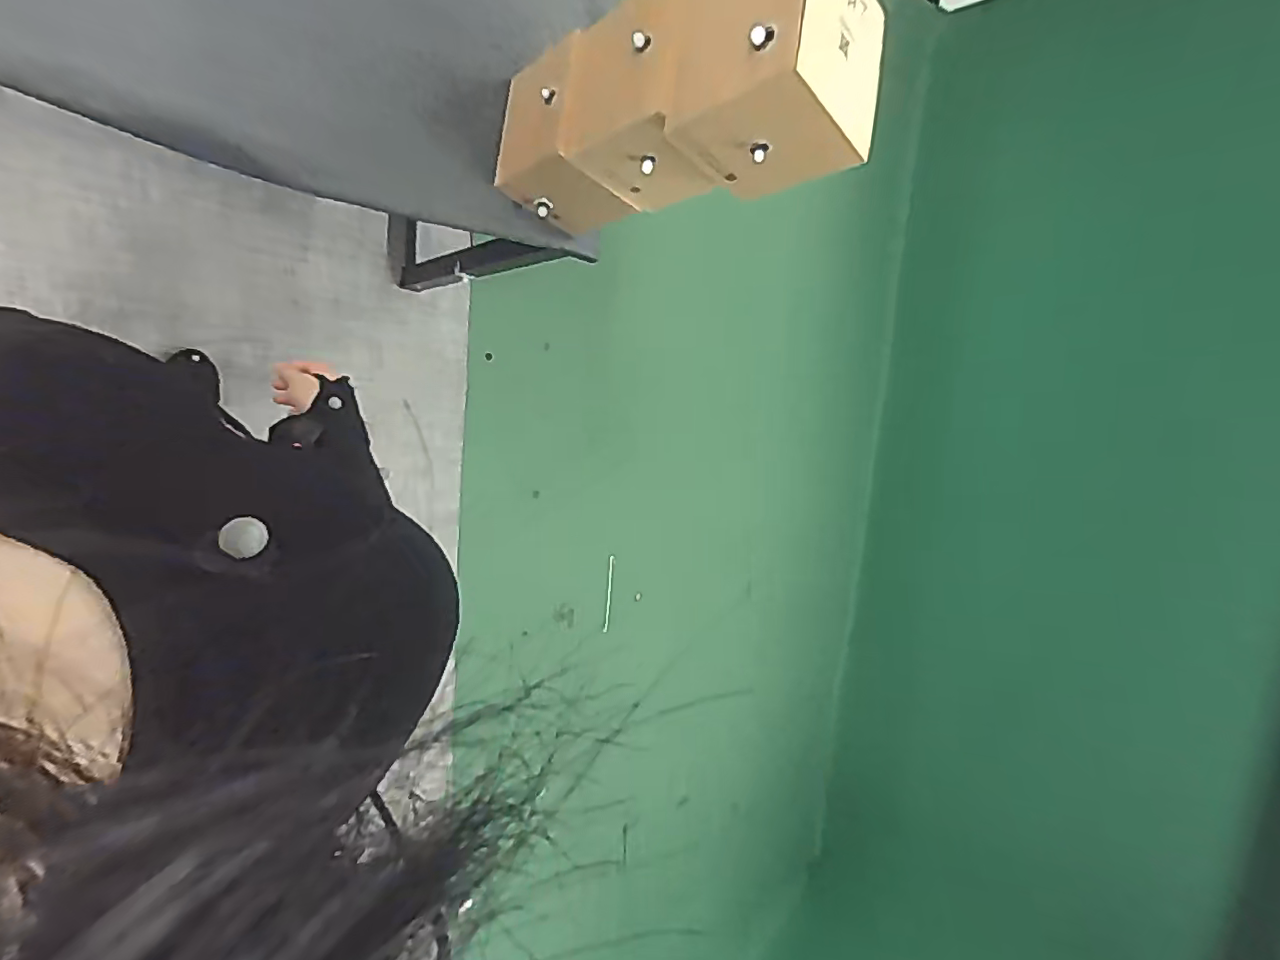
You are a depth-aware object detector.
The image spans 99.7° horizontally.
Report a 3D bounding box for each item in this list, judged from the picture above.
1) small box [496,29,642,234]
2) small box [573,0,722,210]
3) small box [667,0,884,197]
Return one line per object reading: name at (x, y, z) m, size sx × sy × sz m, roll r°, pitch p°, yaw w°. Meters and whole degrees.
small box at (-0.097, -0.506, 0.818) m, size 0.168 × 0.176 × 0.179 m, roll 11°, pitch 88°, yaw -45°
small box at (0.028, -0.492, 0.715) m, size 0.168 × 0.176 × 0.179 m, roll 8°, pitch 88°, yaw -45°
small box at (0.149, -0.454, 0.606) m, size 0.168 × 0.176 × 0.179 m, roll 9°, pitch 87°, yaw -46°
